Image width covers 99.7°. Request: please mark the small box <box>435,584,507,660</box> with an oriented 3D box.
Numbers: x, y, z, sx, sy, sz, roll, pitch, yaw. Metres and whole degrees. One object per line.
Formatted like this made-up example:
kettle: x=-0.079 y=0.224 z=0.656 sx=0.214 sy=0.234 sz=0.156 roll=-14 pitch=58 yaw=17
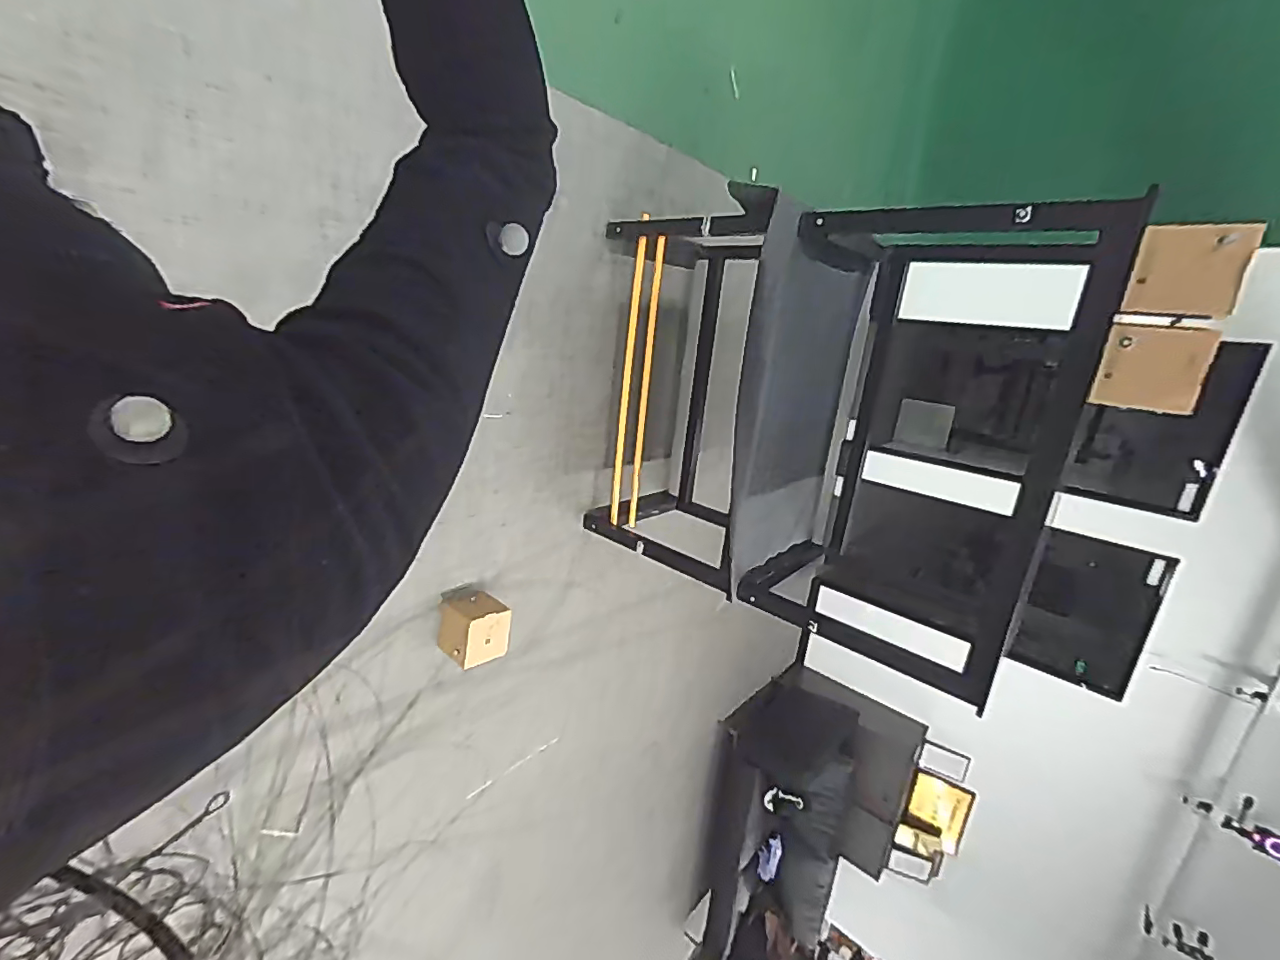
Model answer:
small box: x=-0.580 y=0.476 z=1.843 sx=0.168 sy=0.176 sz=0.179 roll=-5 pitch=109 yaw=-50
